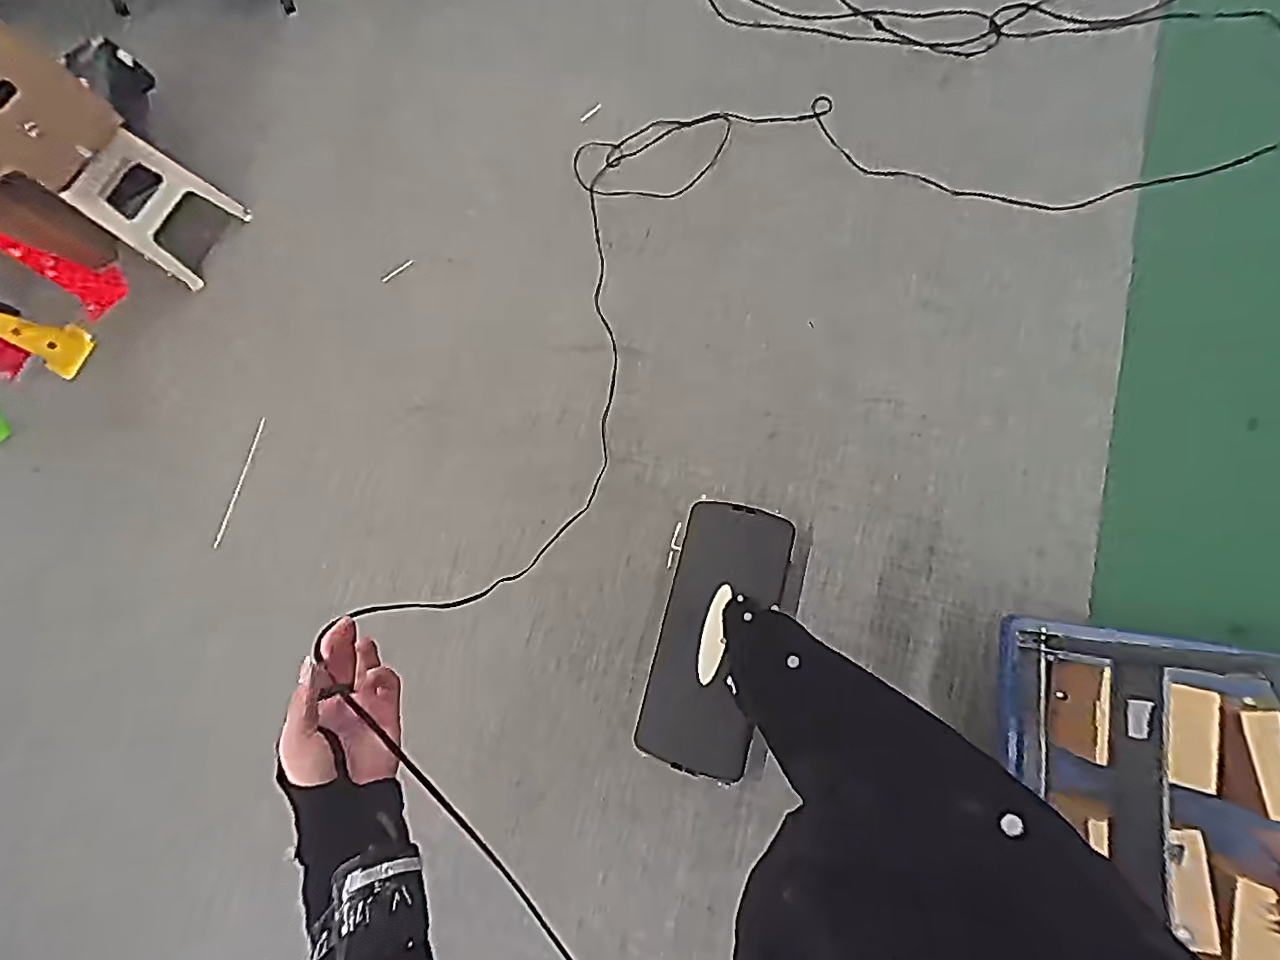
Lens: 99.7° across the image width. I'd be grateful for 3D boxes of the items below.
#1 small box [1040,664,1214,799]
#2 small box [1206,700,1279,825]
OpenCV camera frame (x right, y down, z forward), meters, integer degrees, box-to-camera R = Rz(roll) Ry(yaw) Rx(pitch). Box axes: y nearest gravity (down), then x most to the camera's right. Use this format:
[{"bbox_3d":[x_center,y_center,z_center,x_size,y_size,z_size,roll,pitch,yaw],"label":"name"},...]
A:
[{"bbox_3d":[0.886,0.448,0.997,0.179,0.176,0.168,11,80,15],"label":"small box"},{"bbox_3d":[1.090,0.485,0.941,0.179,0.176,0.168,-5,76,11],"label":"small box"}]
